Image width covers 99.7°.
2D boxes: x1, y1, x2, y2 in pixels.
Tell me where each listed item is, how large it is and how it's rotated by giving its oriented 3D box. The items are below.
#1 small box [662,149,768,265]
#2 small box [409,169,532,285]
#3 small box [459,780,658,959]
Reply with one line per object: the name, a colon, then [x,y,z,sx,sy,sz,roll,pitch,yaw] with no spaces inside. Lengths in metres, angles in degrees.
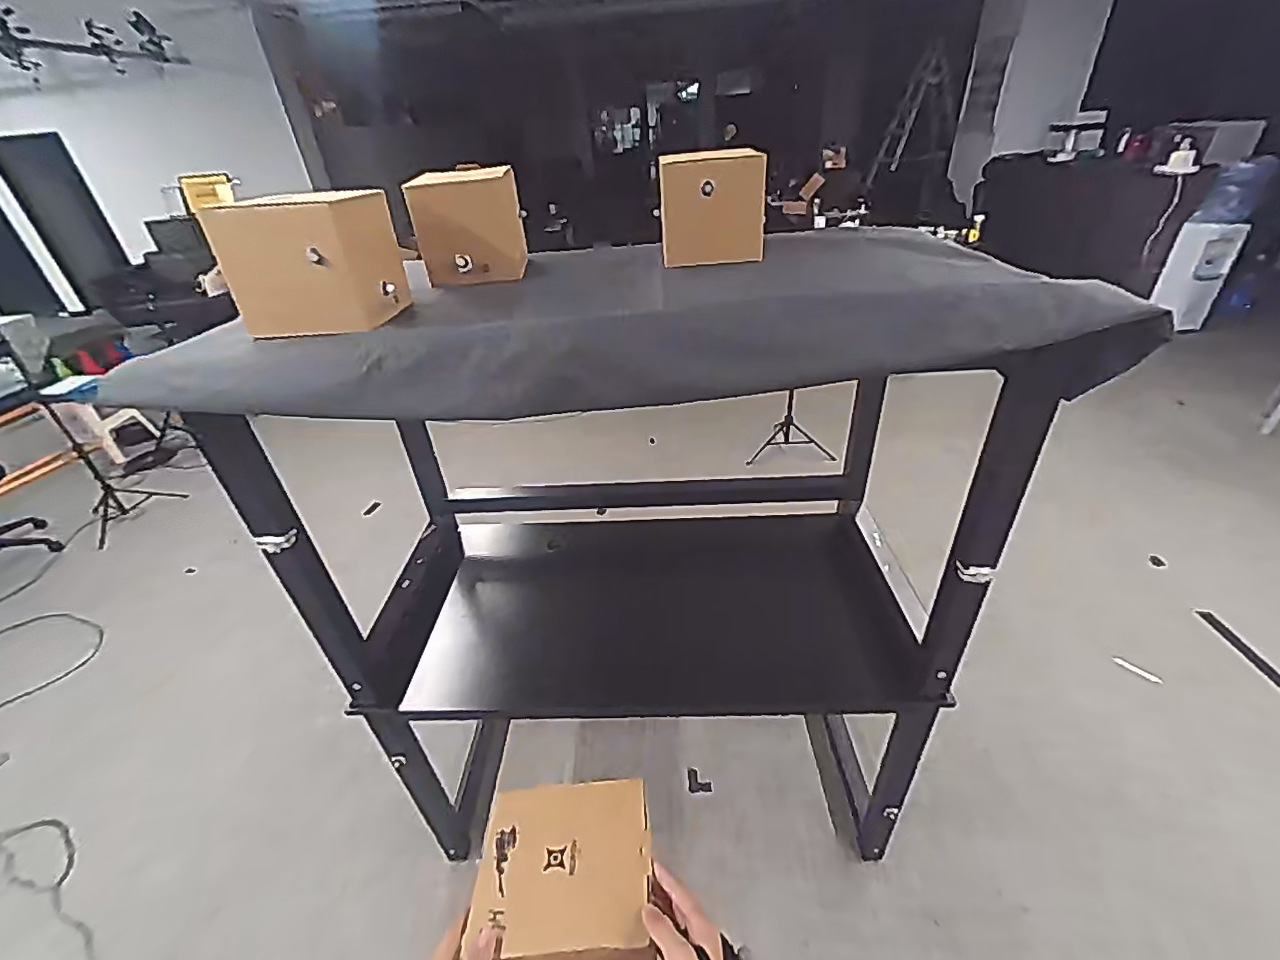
small box: [0.132,-0.500,0.993,0.179,0.176,0.168,-2,34,3]
small box: [-0.300,-0.468,1.000,0.168,0.176,0.179,-7,34,-2]
small box: [-0.071,0.458,0.585,0.179,0.176,0.168,-4,23,1]
